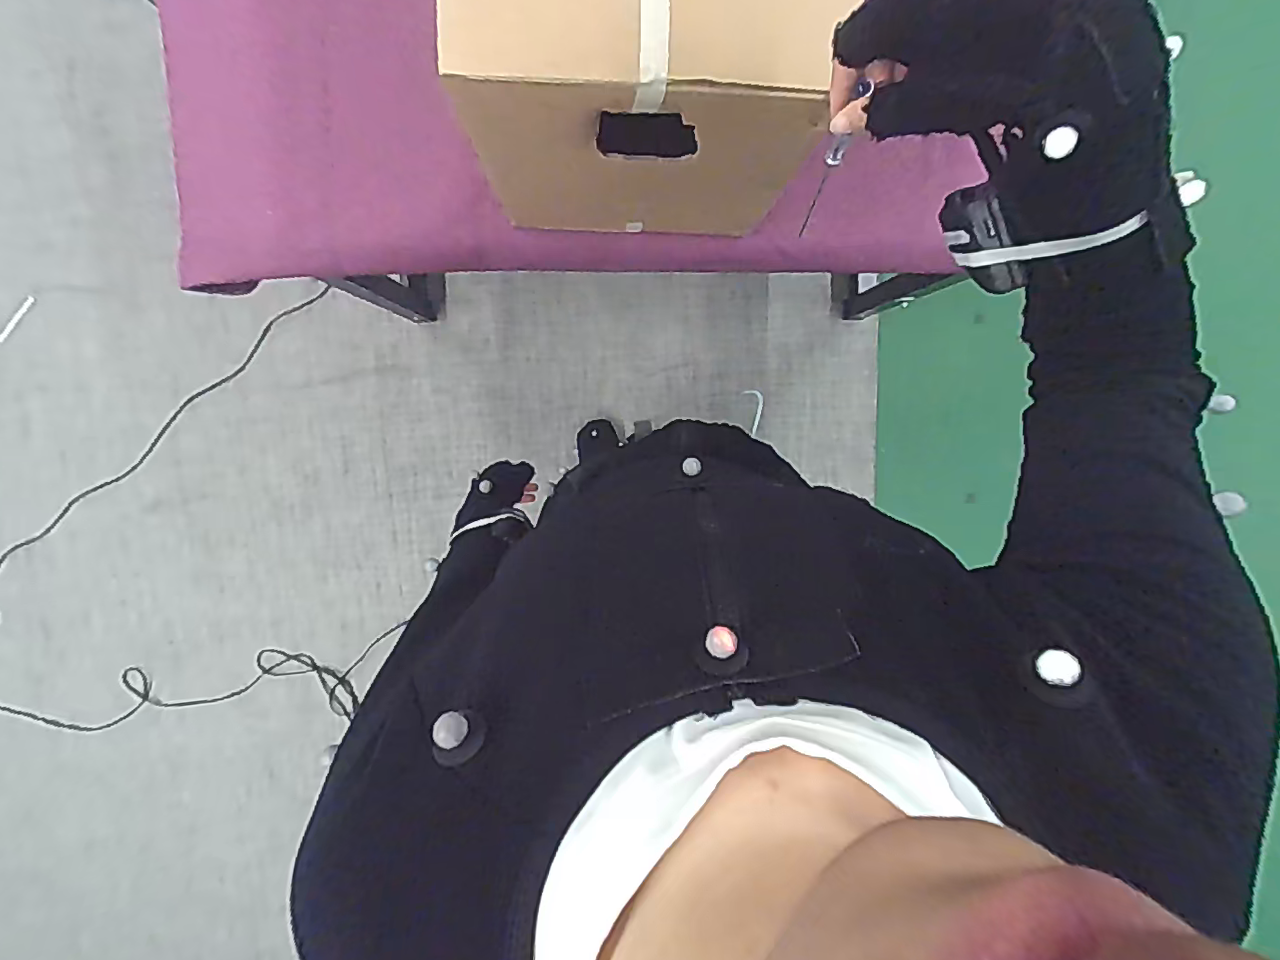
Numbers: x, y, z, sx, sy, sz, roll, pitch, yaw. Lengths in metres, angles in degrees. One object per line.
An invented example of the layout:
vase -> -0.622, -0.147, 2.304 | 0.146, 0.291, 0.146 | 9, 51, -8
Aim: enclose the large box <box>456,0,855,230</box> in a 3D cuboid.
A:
large box -> 0.007, -0.515, 0.541 | 0.320, 0.320, 0.408 | 1, 97, -3
